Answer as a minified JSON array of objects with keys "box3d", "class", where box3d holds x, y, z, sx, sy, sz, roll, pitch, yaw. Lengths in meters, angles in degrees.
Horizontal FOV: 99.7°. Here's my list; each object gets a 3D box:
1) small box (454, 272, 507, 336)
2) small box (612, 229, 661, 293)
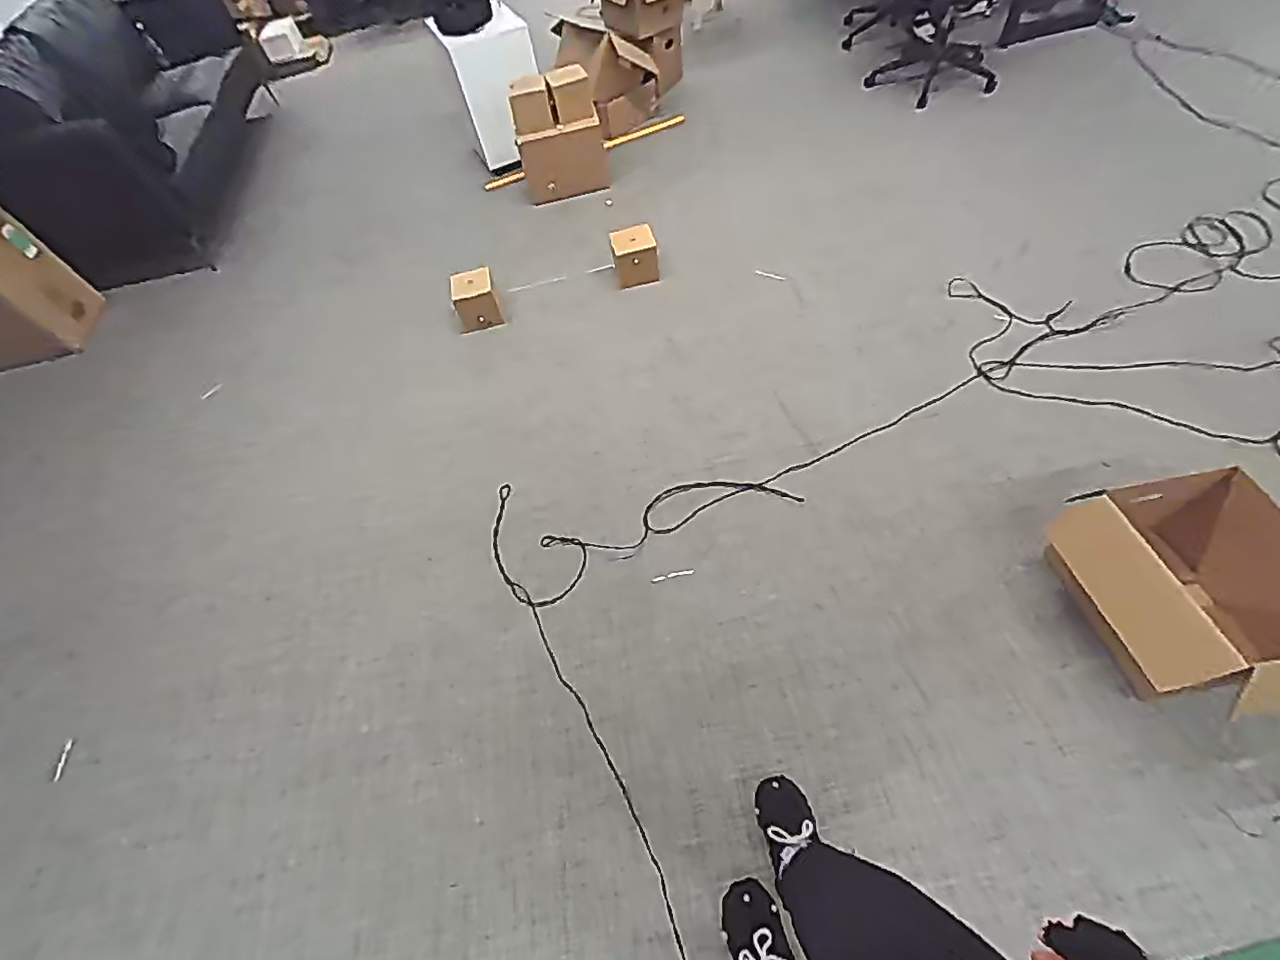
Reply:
[{"box3d":[-0.669,-0.739,2.271,0.168,0.176,0.179,-15,55,-1],"class":"small box"},{"box3d":[-0.010,-0.926,2.293,0.179,0.176,0.168,-15,56,-1],"class":"small box"}]
